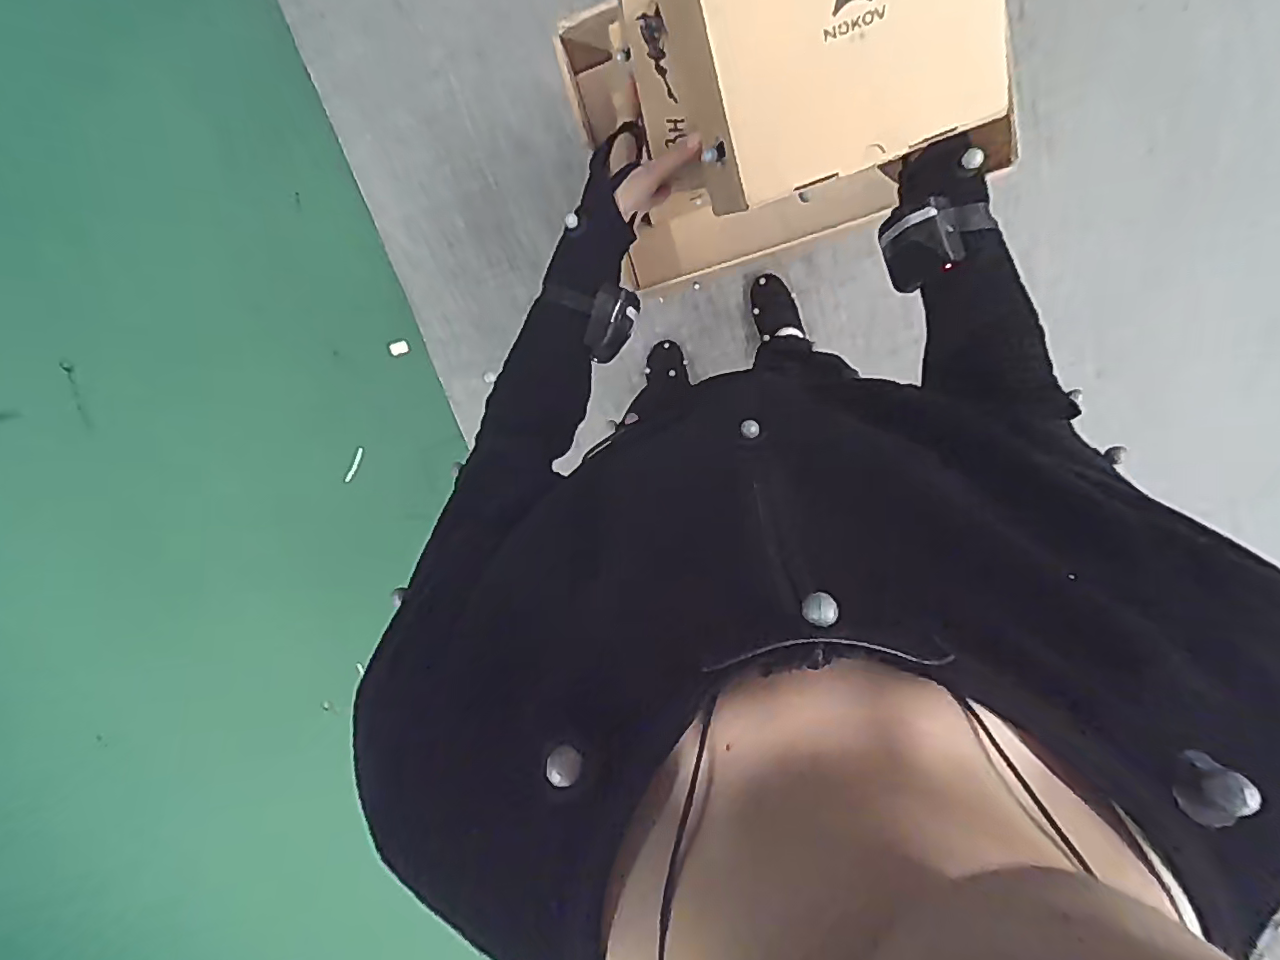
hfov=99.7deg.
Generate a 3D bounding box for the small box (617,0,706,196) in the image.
[{"bbox_3d":[0.076,-0.391,0.520,0.179,0.176,0.168,-12,109,5],"label":"small box"}]

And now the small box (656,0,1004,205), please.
[{"bbox_3d":[0.111,-0.310,0.371,0.168,0.176,0.179,-18,113,8],"label":"small box"}]
